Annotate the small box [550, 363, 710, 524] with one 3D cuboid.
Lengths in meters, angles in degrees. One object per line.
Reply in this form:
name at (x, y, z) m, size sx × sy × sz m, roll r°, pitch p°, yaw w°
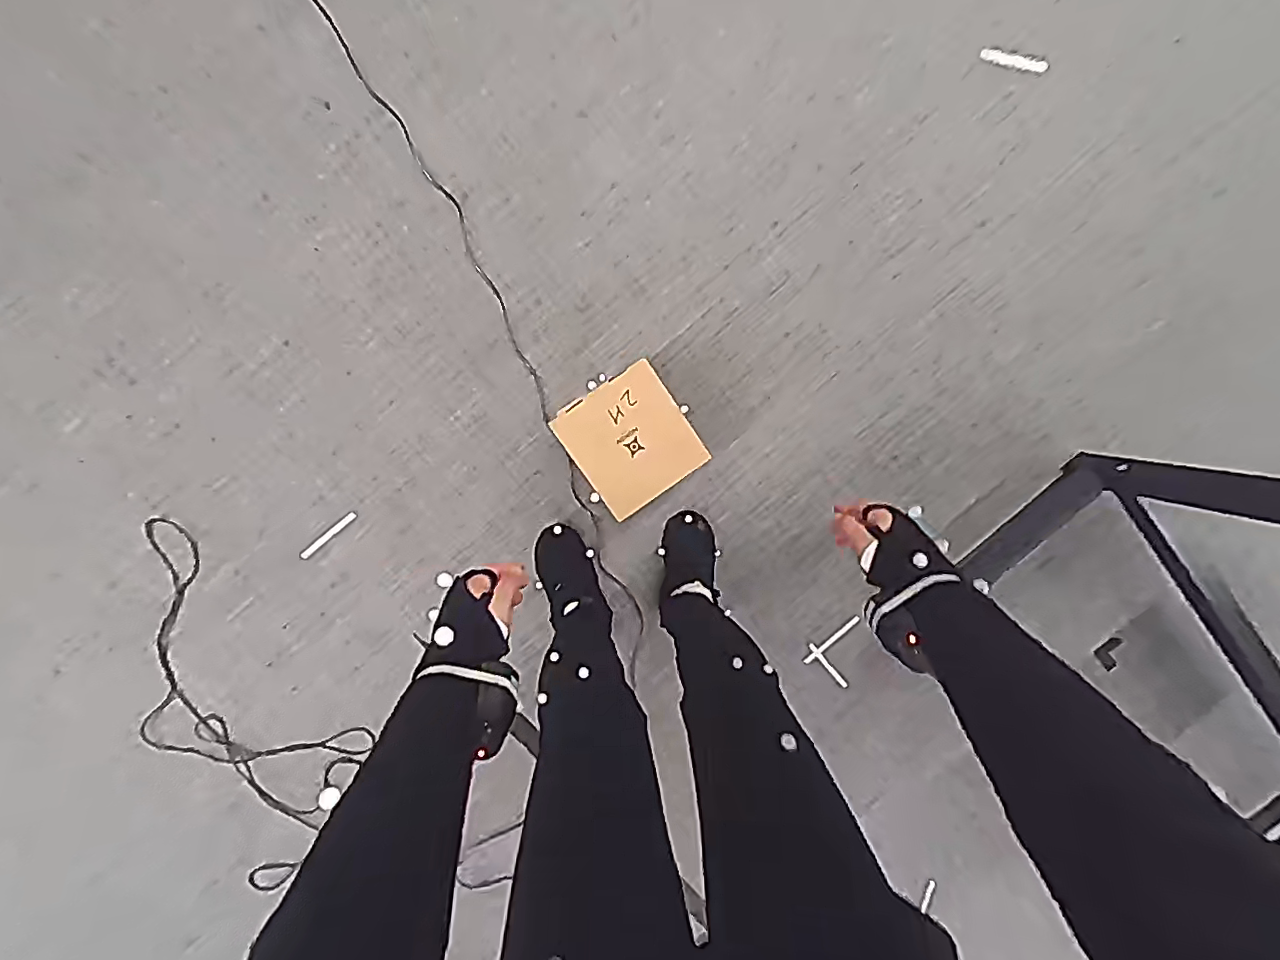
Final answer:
small box at (-0.018, -0.062, 0.841) m, size 0.168 × 0.176 × 0.179 m, roll -35°, pitch 99°, yaw 0°
